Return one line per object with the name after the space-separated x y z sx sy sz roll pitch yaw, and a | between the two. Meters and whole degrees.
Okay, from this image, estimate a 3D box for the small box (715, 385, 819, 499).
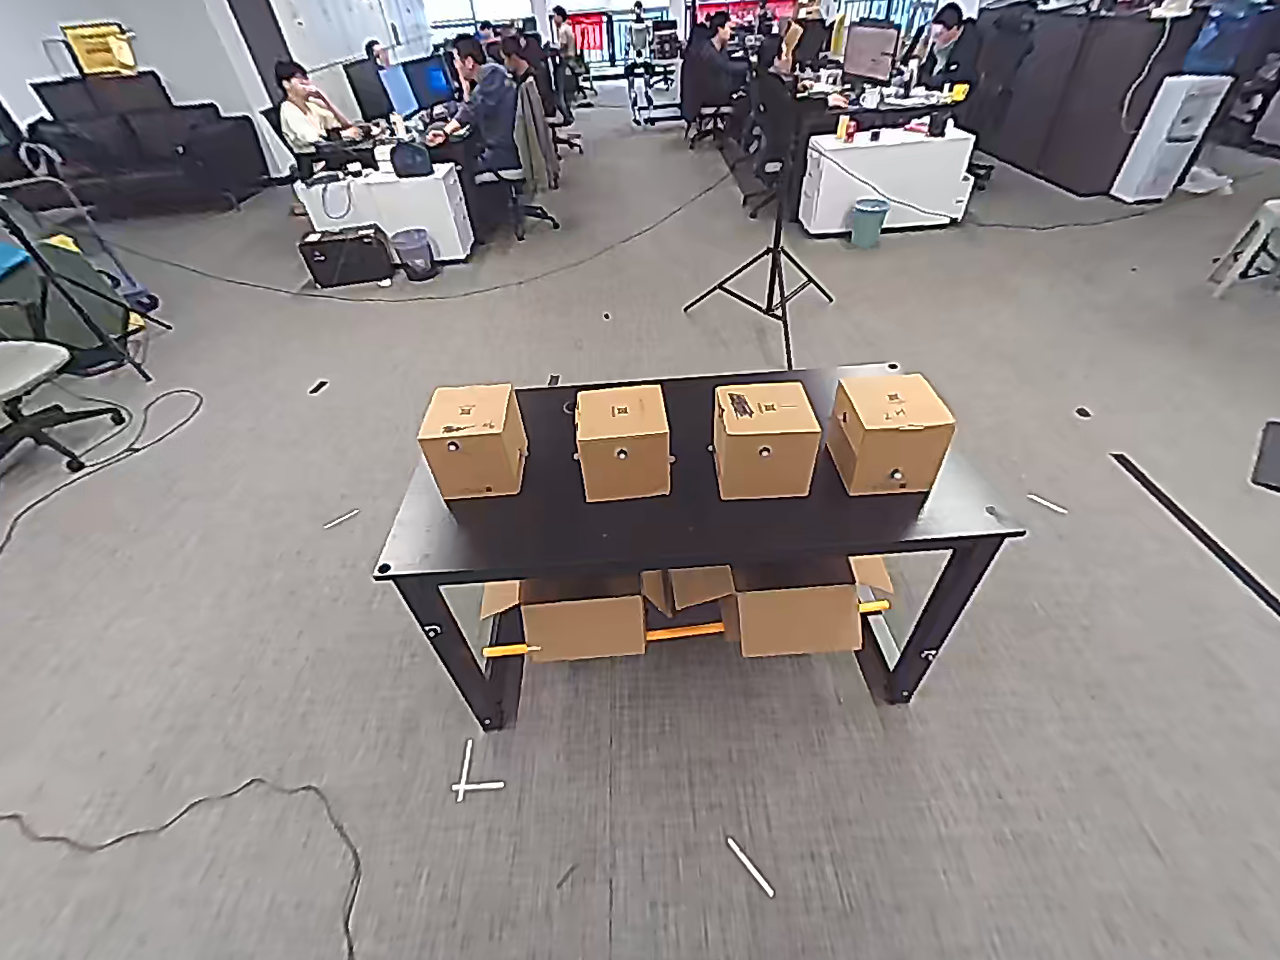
0.246 -0.074 1.092 0.179 0.176 0.168 -2 42 2 | small box

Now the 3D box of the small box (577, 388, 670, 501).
-0.033 -0.070 1.118 0.179 0.176 0.168 -5 43 -2 | small box

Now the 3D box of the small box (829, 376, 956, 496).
0.491 -0.088 1.084 0.168 0.176 0.179 -4 42 3 | small box

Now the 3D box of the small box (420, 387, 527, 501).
-0.342 -0.077 1.150 0.168 0.176 0.179 -4 42 0 | small box
